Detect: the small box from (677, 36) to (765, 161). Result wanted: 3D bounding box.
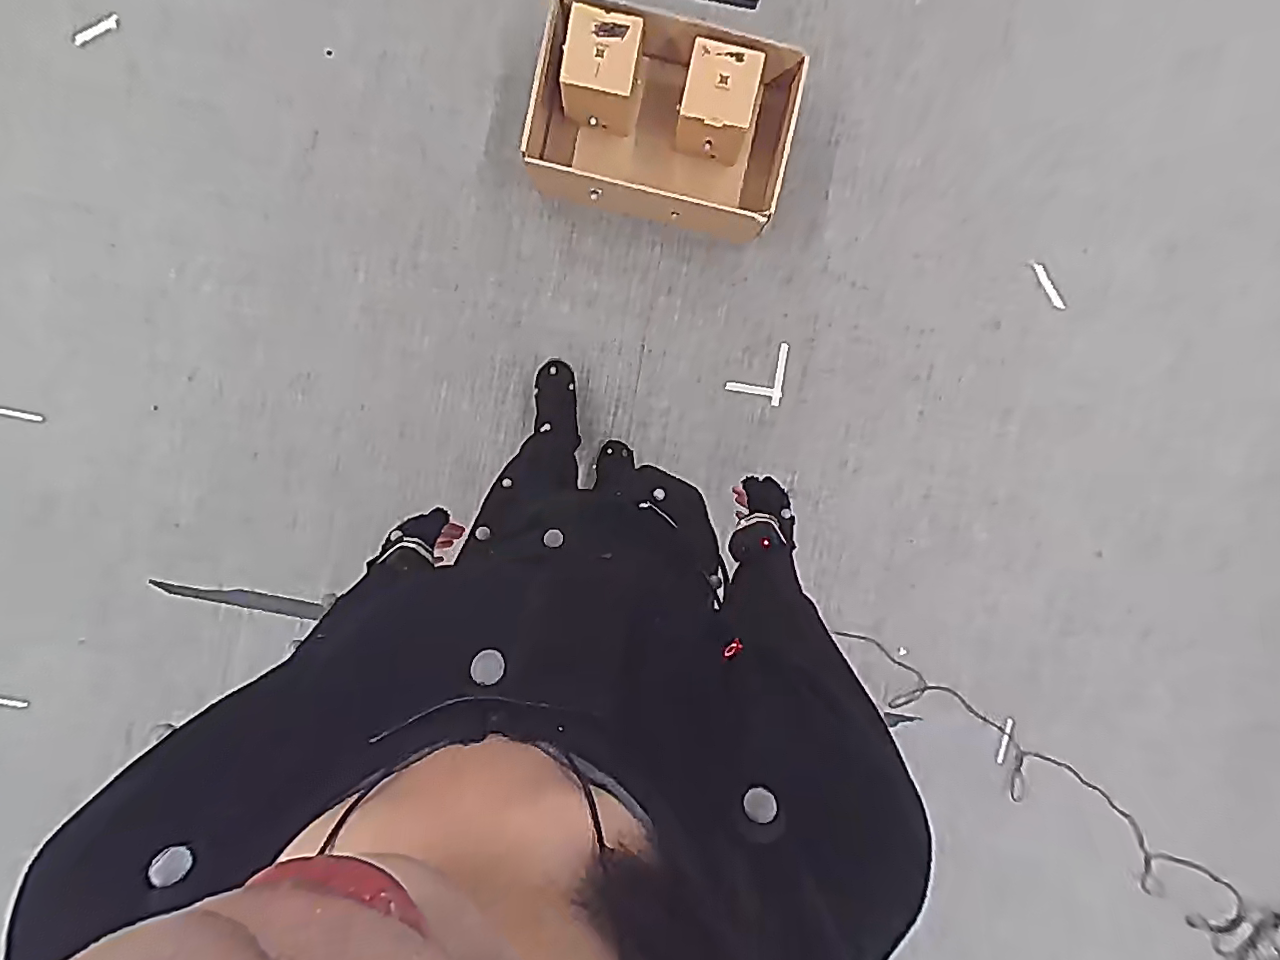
[{"bbox_3d":[0.188,-0.915,1.316,0.168,0.176,0.179,14,96,0],"label":"small box"}]
